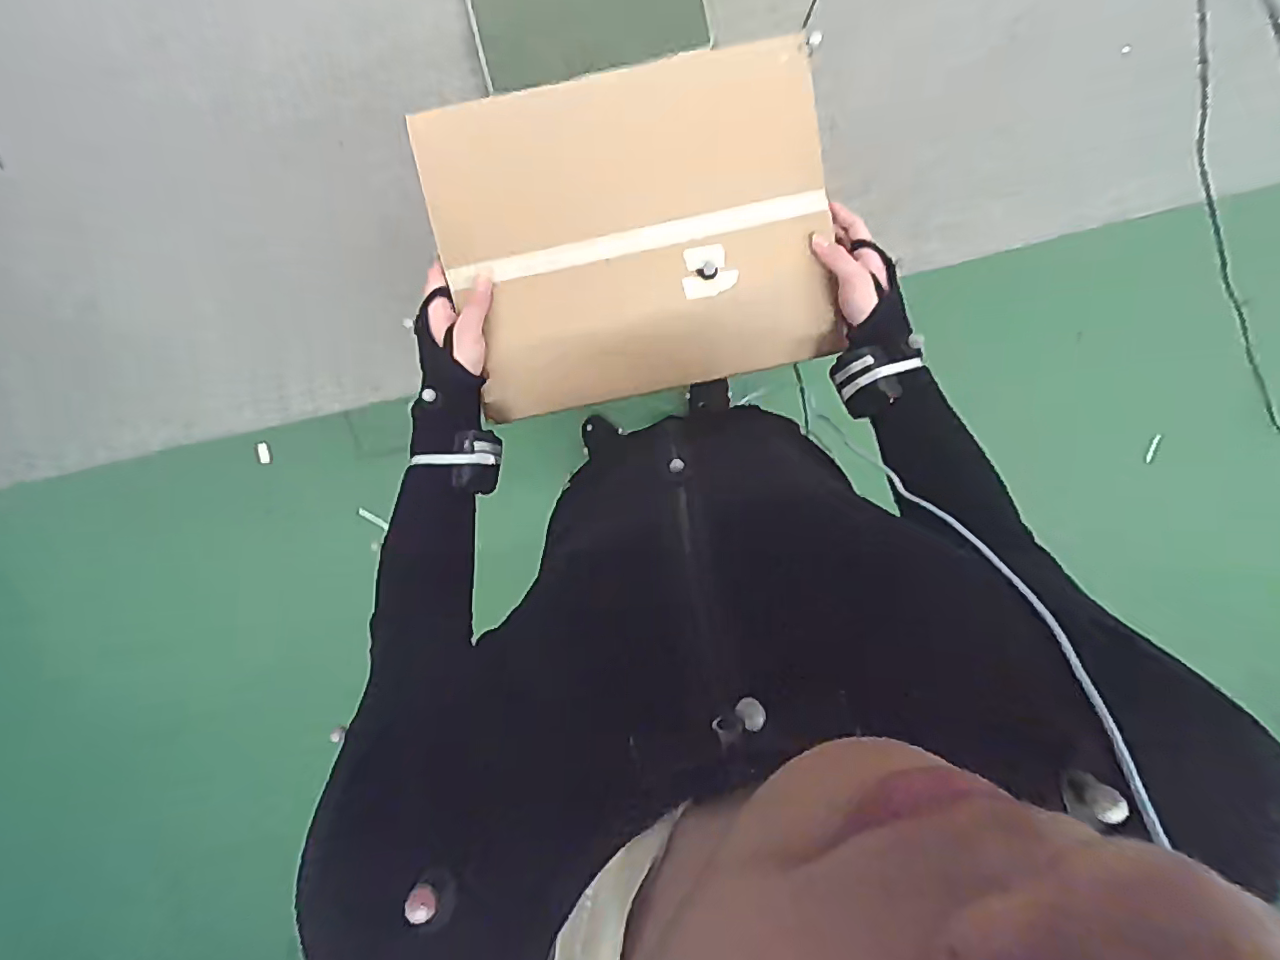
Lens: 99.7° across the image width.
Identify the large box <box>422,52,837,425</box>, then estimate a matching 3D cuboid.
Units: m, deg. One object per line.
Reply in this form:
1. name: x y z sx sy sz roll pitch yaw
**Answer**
1. large box: -0.008 -0.276 0.726 0.408 0.320 0.320 -12 102 0
